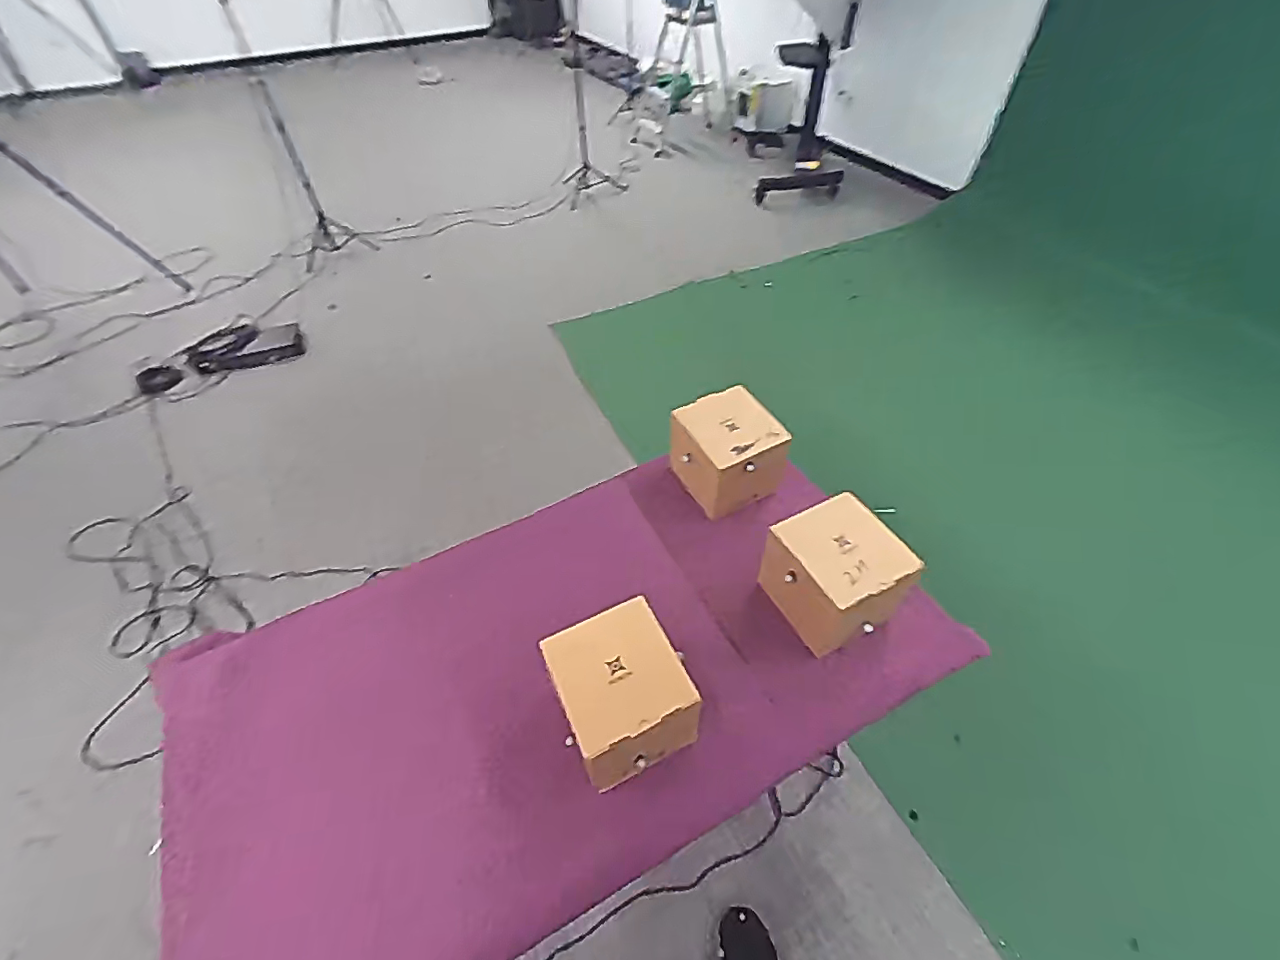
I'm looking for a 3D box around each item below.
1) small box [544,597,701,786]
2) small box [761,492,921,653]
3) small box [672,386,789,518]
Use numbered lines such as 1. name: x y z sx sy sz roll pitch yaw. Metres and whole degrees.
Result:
1. small box: -0.029 0.311 0.796 0.168 0.176 0.179 -22 51 -17
2. small box: 0.325 0.157 0.918 0.168 0.176 0.179 -22 51 -16
3. small box: 0.174 -0.056 1.106 0.168 0.176 0.179 -24 54 -16
